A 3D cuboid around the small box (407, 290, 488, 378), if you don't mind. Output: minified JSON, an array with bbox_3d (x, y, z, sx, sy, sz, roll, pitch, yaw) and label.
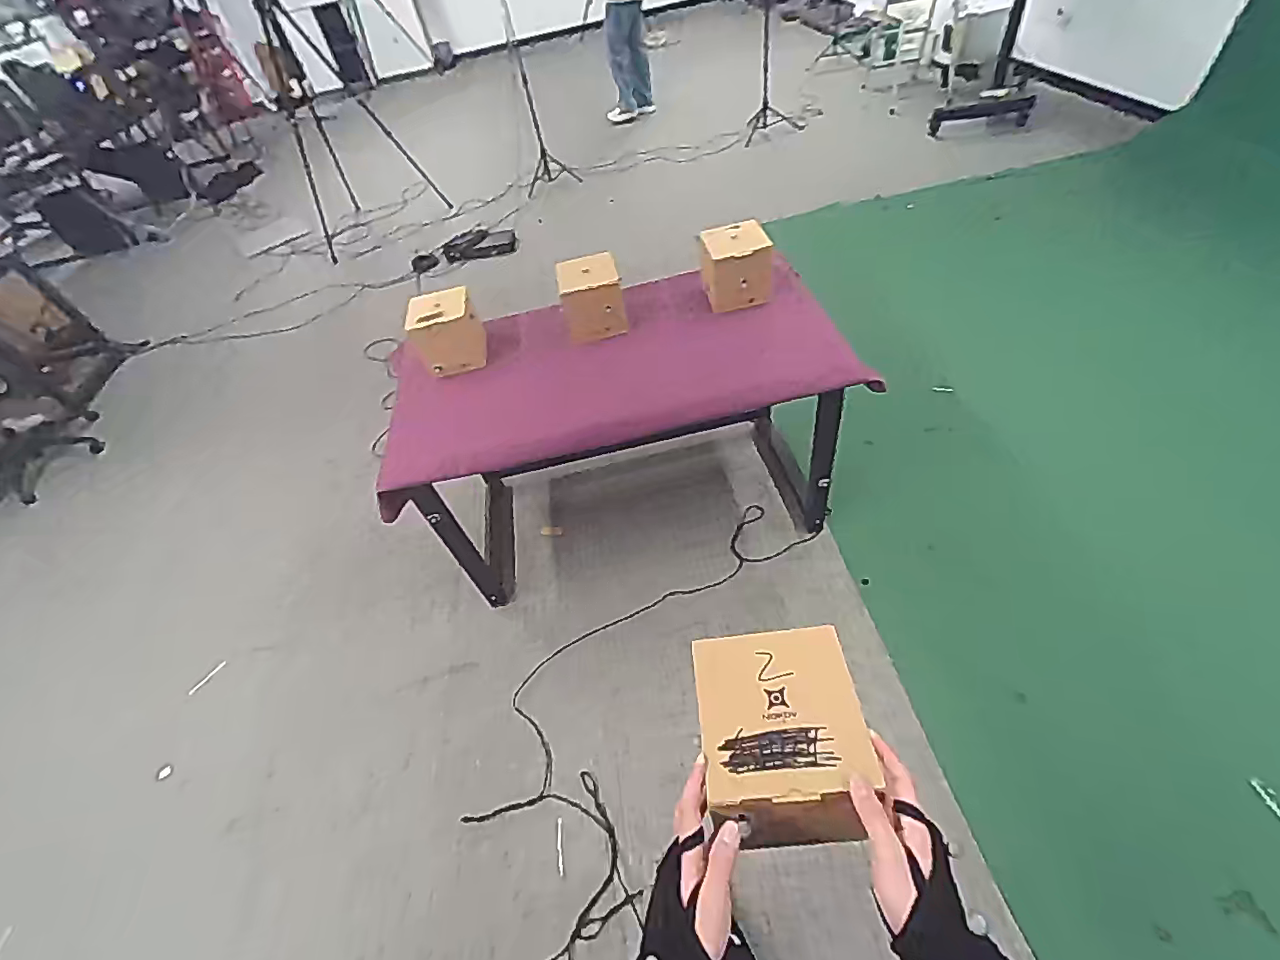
[{"bbox_3d":[-0.546,-0.414,1.558,0.168,0.176,0.179,-14,48,-1],"label":"small box"}]

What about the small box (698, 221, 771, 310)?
[{"bbox_3d":[0.271,-0.605,1.544,0.168,0.176,0.179,-13,49,1],"label":"small box"}]

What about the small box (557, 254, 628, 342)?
[{"bbox_3d":[-0.135,-0.517,1.560,0.168,0.176,0.179,-13,48,0],"label":"small box"}]
